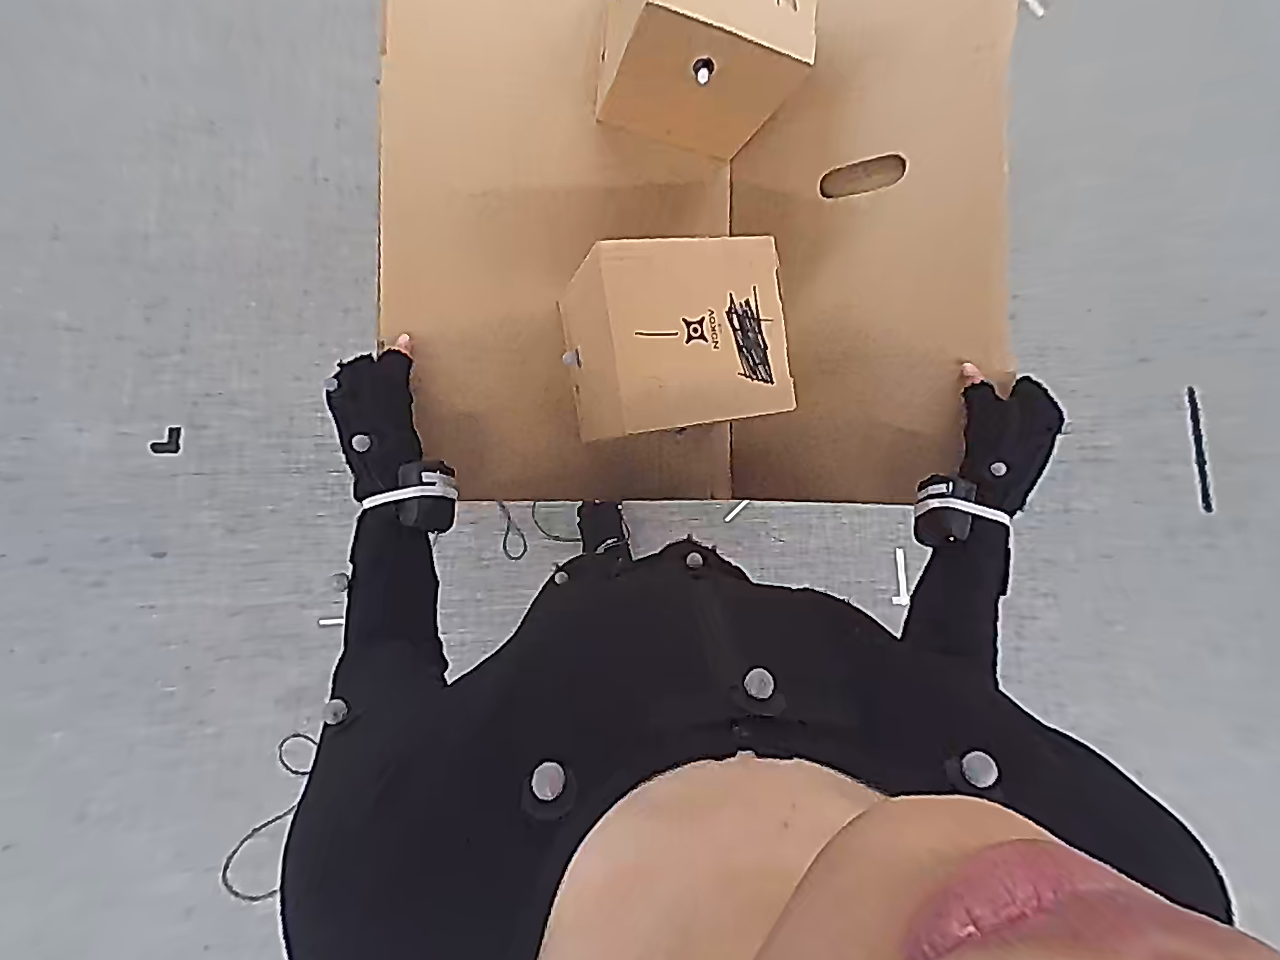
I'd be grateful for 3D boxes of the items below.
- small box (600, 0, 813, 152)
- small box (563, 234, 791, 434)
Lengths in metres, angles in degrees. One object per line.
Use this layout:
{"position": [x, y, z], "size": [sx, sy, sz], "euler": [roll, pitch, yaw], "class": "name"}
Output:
{"position": [0.063, -0.490, 0.577], "size": [0.179, 0.176, 0.168], "euler": [5, 89, -20], "class": "small box"}
{"position": [0.030, -0.143, 0.569], "size": [0.179, 0.176, 0.168], "euler": [-10, 94, -19], "class": "small box"}
